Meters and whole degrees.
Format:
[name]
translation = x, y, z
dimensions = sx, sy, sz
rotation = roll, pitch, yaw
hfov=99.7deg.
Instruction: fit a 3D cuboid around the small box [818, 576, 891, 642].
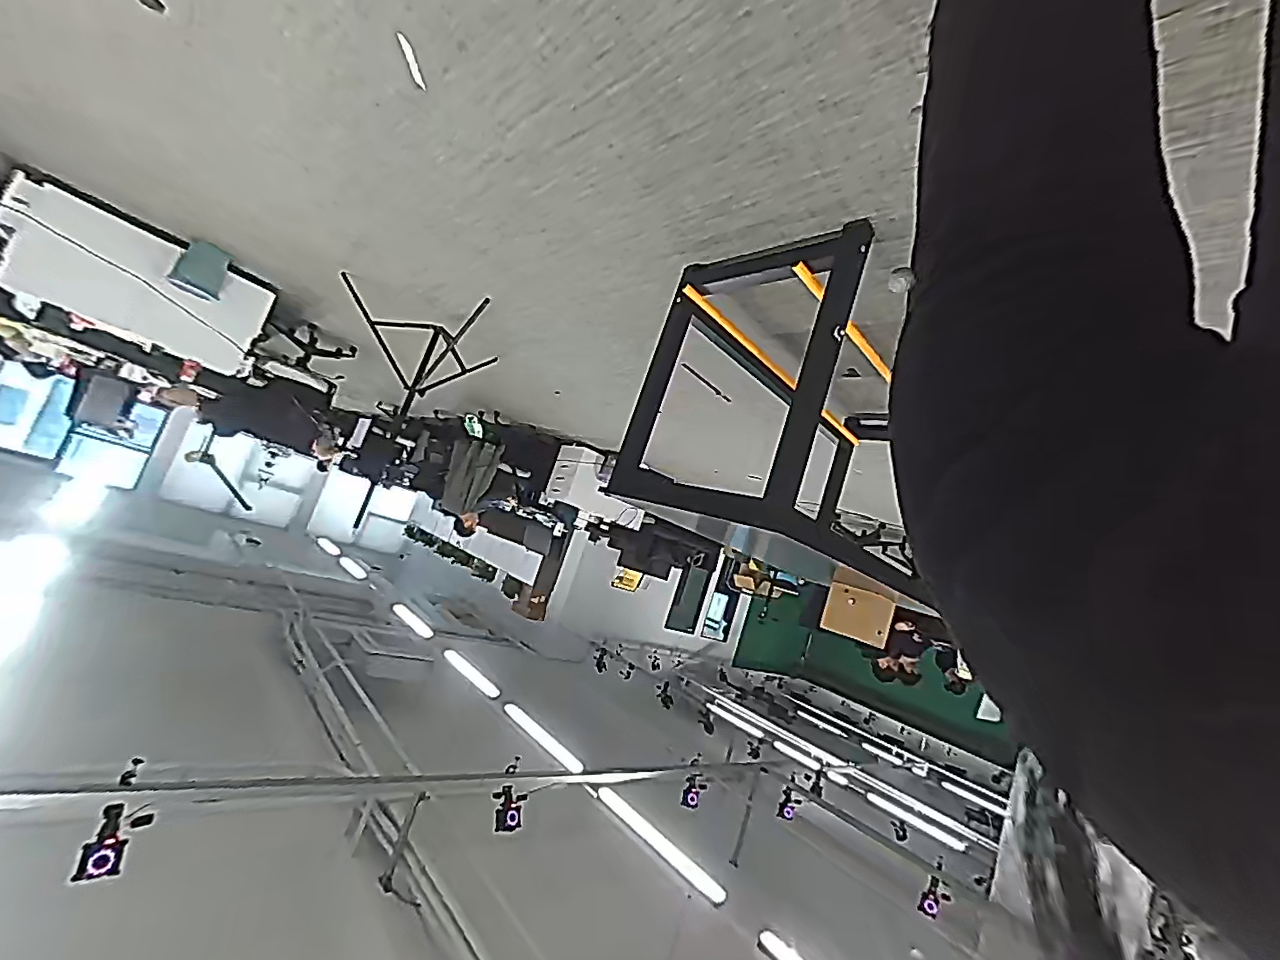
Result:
[small box]
translation = 0.757, 0.449, 1.894
dimensions = 0.168, 0.176, 0.179
rotation = 10, 168, 47
